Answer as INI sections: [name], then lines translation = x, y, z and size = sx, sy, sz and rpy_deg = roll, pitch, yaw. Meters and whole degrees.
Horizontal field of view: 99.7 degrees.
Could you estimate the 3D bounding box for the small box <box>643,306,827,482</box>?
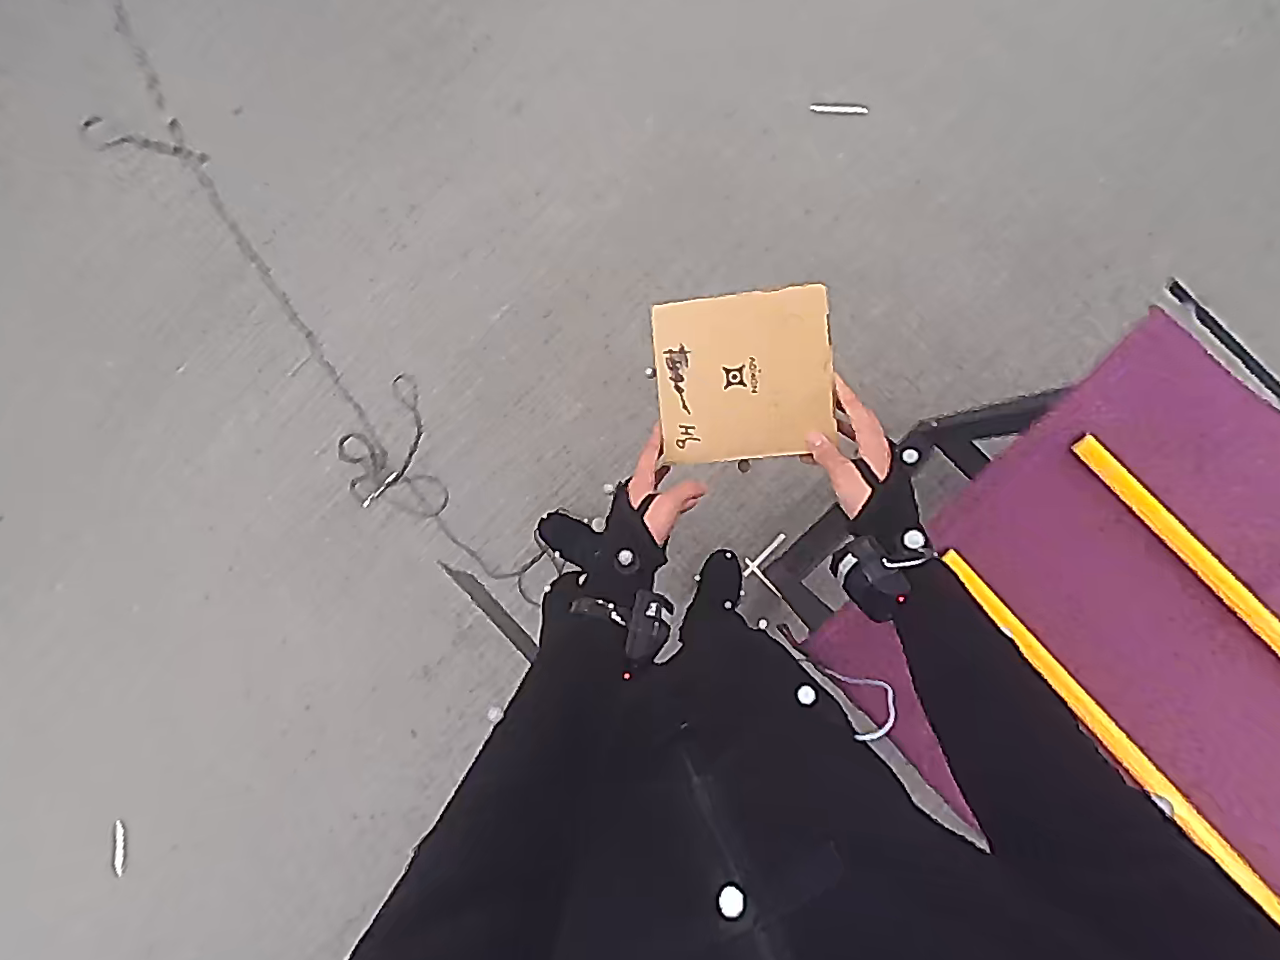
[small box]
translation = 0.105, -0.091, 0.626
size = 0.179, 0.176, 0.168
rpy_deg = -5, 92, 8
